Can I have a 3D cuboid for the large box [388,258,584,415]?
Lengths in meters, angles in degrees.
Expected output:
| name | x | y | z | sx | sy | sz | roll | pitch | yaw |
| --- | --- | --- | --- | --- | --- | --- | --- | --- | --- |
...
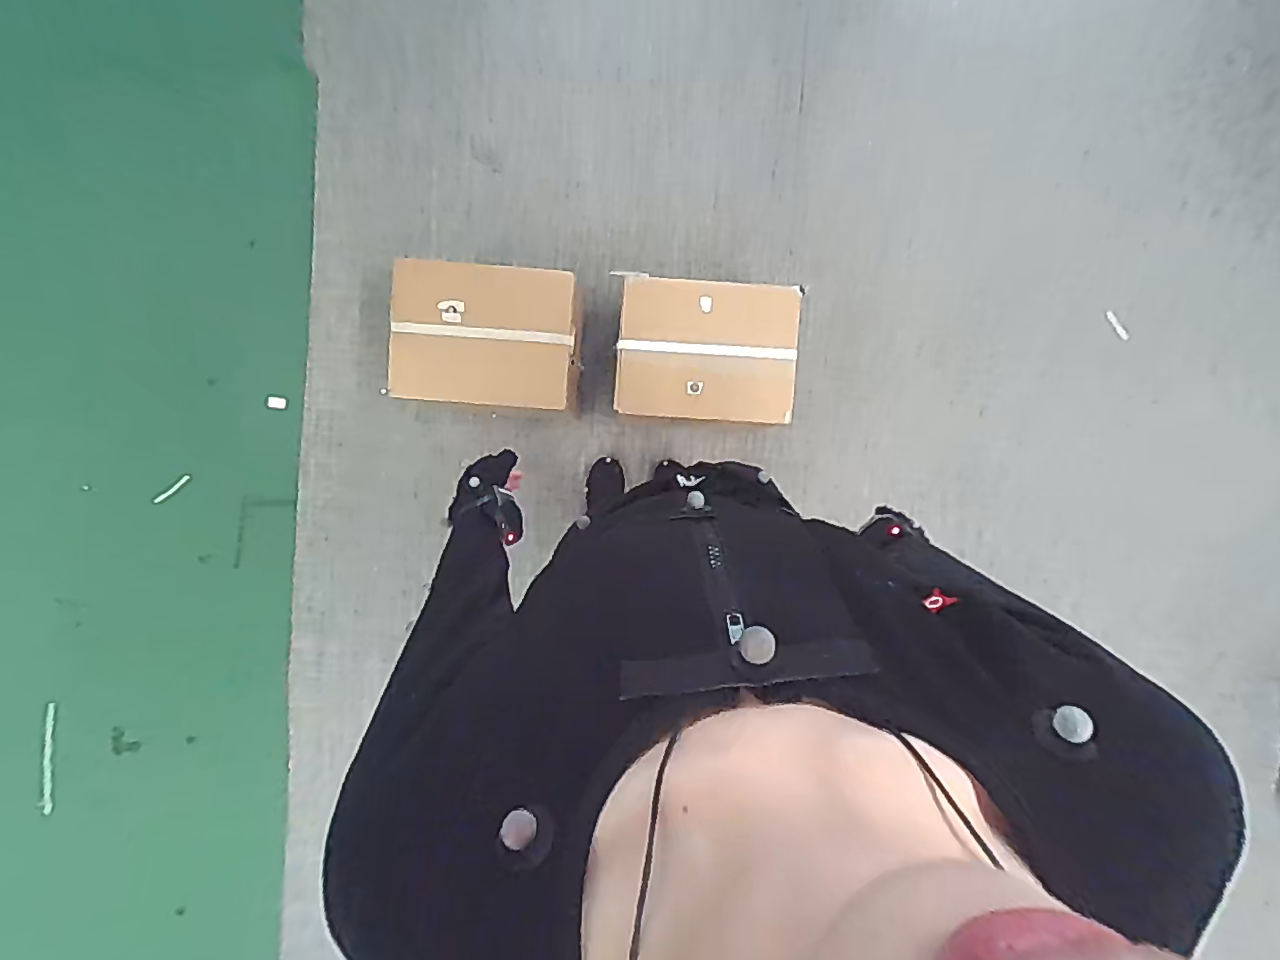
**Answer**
| name | x | y | z | sx | sy | sz | roll | pitch | yaw |
| --- | --- | --- | --- | --- | --- | --- | --- | --- | --- |
| large box | -0.357 | -0.335 | 1.352 | 0.408 | 0.320 | 0.320 | 4 | 91 | -1 |
